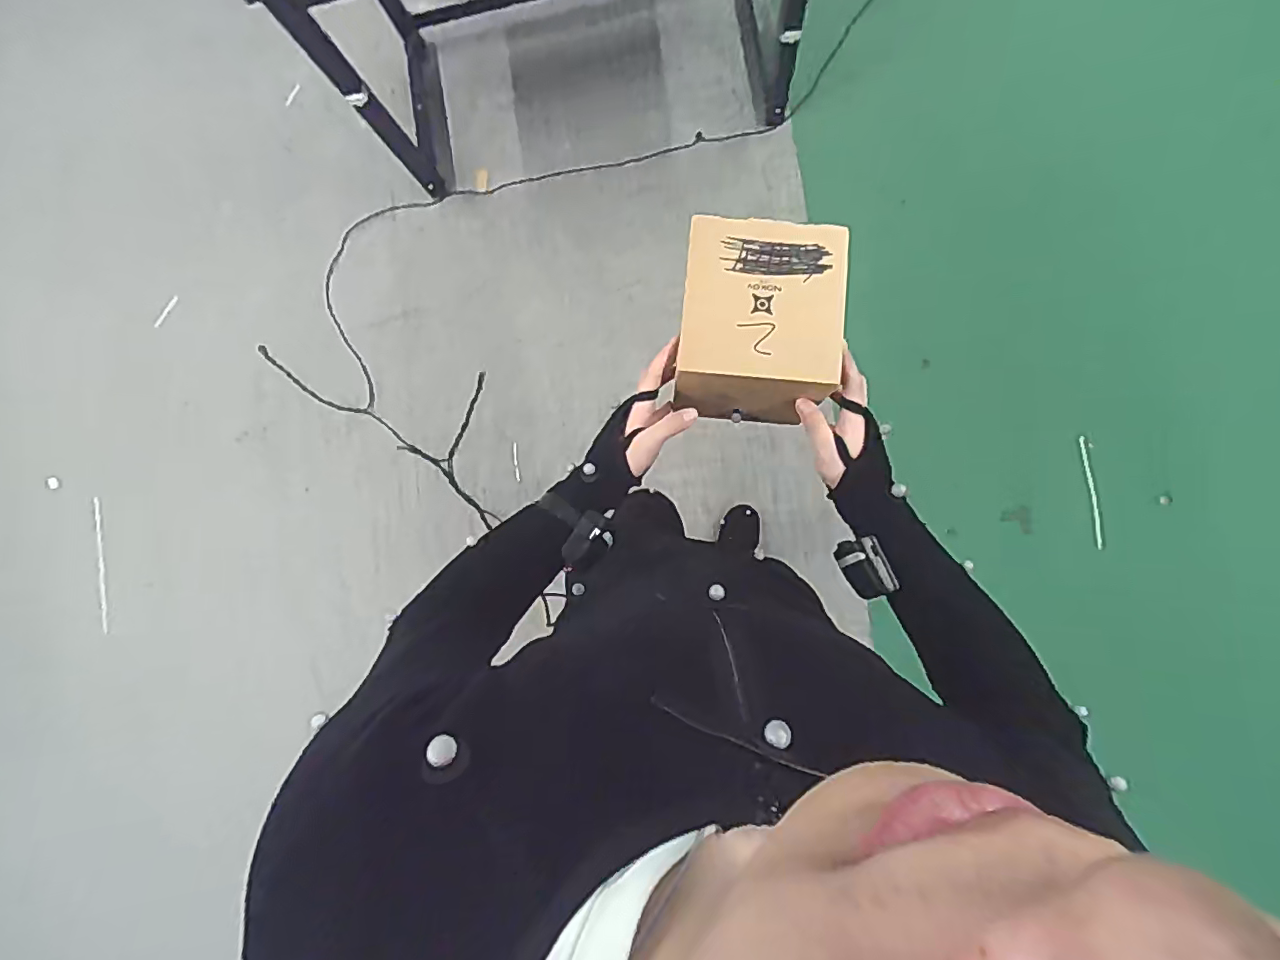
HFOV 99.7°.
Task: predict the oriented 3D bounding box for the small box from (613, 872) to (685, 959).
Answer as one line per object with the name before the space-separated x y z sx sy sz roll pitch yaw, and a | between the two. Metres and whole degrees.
small box | 0.028 1.196 1.458 0.168 0.176 0.179 -7 85 8

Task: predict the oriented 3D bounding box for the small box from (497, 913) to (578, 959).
small box | -0.246 1.216 1.326 0.168 0.176 0.179 -4 86 4
